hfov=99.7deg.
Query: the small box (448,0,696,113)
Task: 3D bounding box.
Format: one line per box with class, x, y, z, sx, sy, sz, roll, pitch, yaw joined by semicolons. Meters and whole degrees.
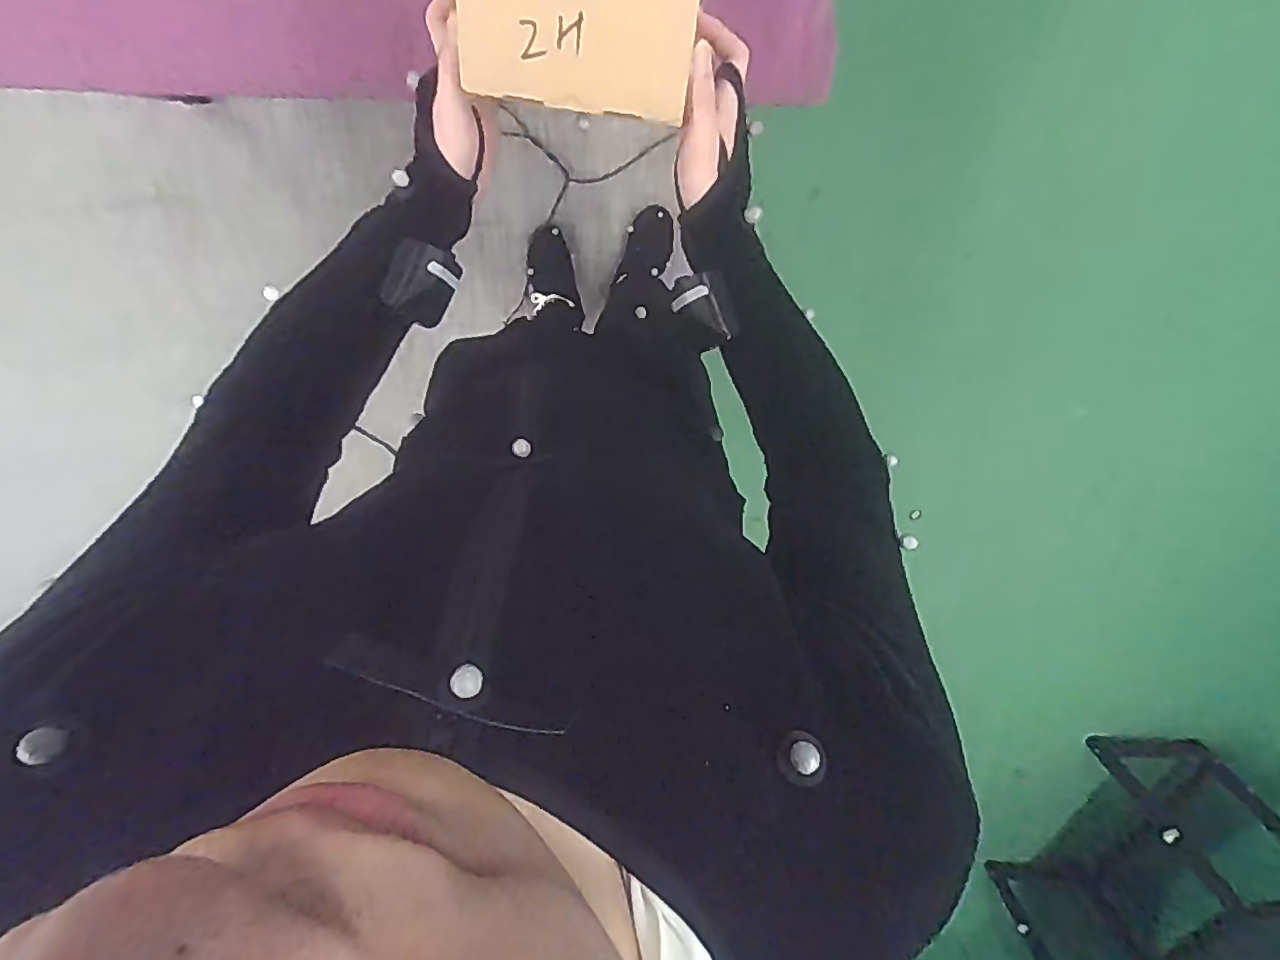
small box;-0.040;-0.393;0.406;0.168;0.176;0.179;7;124;-3
